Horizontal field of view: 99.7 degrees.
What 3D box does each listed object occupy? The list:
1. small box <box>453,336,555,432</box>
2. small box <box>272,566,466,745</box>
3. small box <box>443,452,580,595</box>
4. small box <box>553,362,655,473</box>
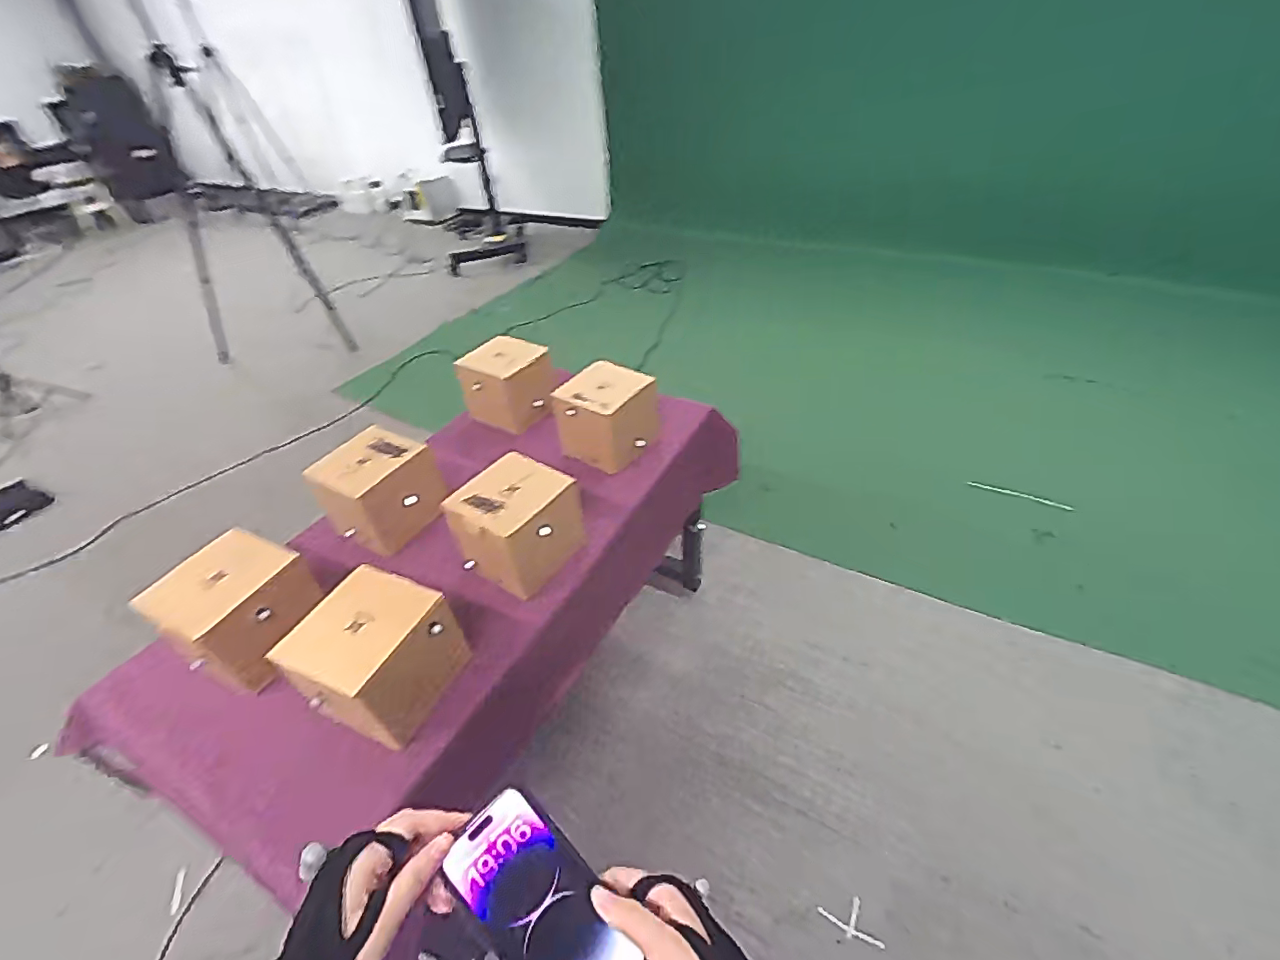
[{"bbox_3d":[-0.344,-0.247,1.399,0.179,0.176,0.168,21,48,25],"label":"small box"},{"bbox_3d":[-0.392,0.266,0.821,0.168,0.176,0.179,13,43,20],"label":"small box"},{"bbox_3d":[-0.228,0.082,1.014,0.168,0.176,0.179,23,47,28],"label":"small box"},{"bbox_3d":[-0.079,-0.148,1.264,0.168,0.176,0.179,23,48,29],"label":"small box"}]
